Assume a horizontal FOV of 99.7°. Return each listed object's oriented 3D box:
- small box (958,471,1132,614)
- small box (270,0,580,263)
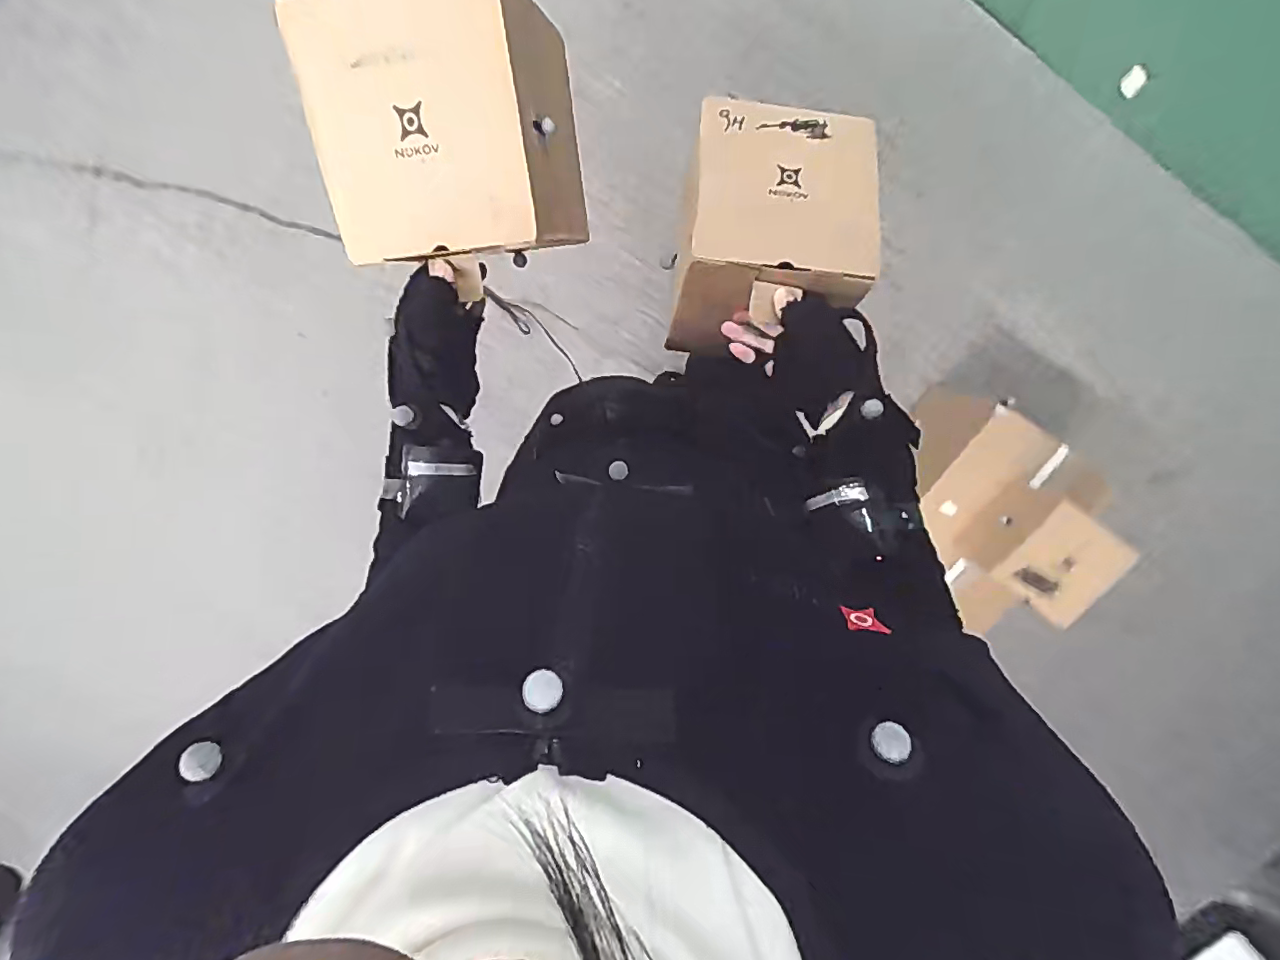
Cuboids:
[{"bbox_3d":[0.736,0.110,1.015,0.168,0.176,0.179,34,107,0],"label":"small box"},{"bbox_3d":[-0.160,-0.299,0.474,0.168,0.176,0.179,-4,114,11],"label":"small box"}]
